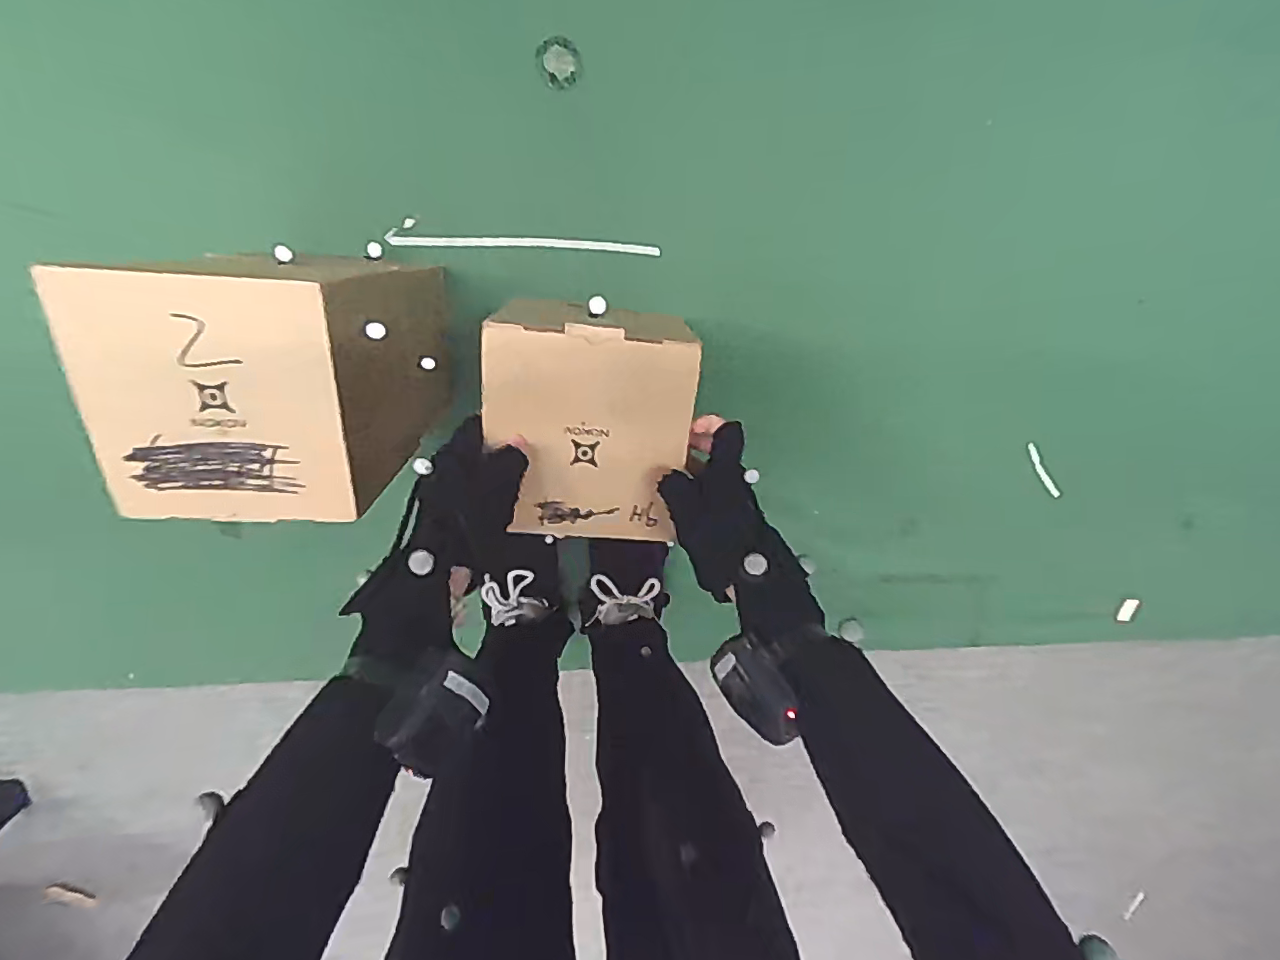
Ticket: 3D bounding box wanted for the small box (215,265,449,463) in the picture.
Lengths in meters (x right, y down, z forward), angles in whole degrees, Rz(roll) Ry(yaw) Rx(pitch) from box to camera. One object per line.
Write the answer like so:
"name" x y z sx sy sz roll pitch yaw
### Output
"small box" -0.316 -0.134 0.599 0.168 0.176 0.179 3 113 -7
